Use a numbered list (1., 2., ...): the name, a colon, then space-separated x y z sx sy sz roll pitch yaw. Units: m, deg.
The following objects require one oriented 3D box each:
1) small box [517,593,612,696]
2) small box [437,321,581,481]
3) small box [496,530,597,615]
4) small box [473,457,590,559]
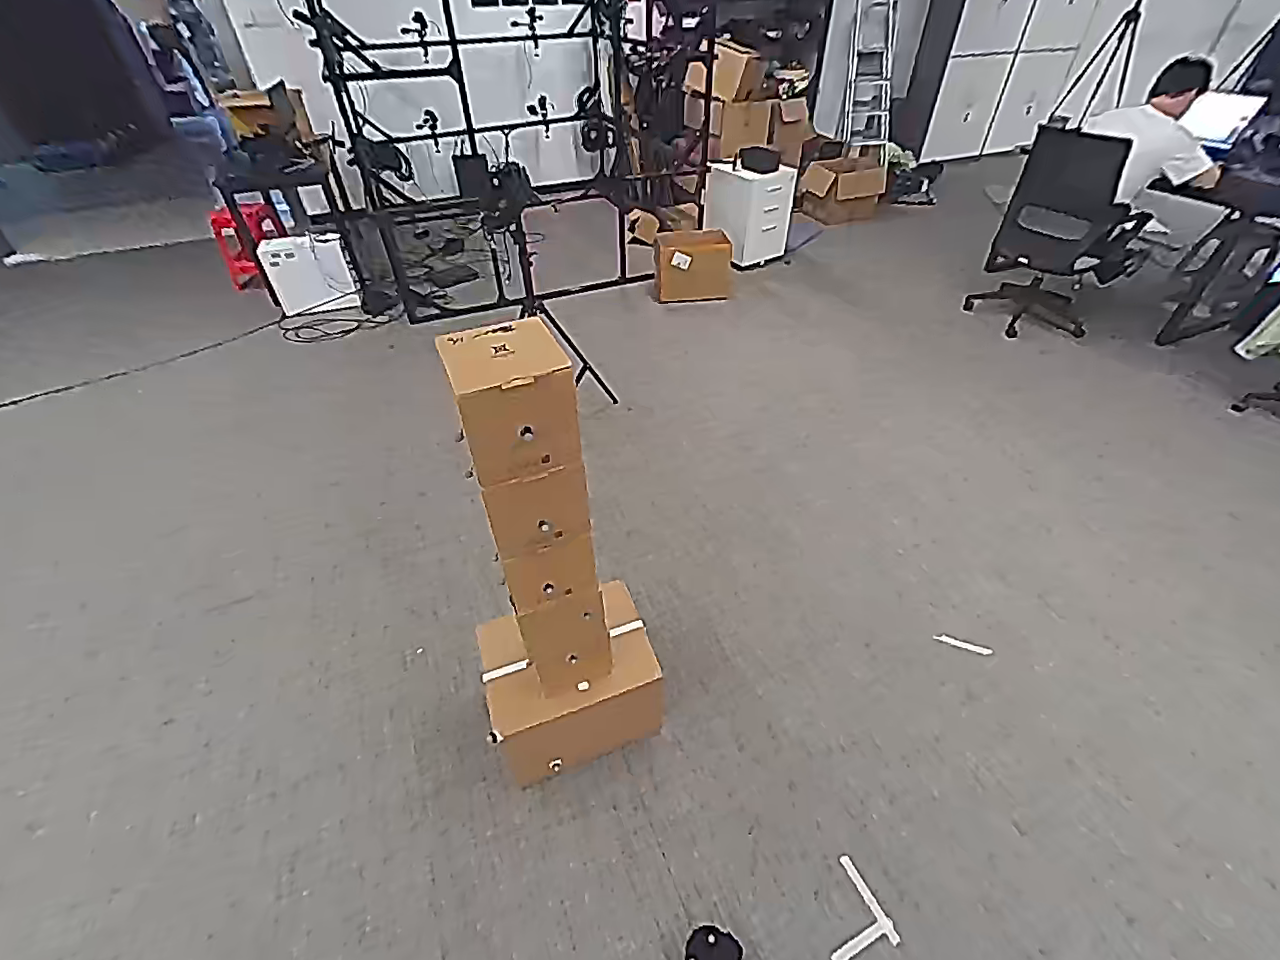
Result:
1. small box: -0.173 0.375 1.271 0.179 0.176 0.168 -16 45 -17
2. small box: -0.198 -0.118 0.839 0.168 0.176 0.179 -18 46 -18
3. small box: -0.190 0.129 1.056 0.168 0.176 0.179 -16 45 -16
4. small box: -0.195 0.006 0.947 0.168 0.176 0.179 -18 46 -17
